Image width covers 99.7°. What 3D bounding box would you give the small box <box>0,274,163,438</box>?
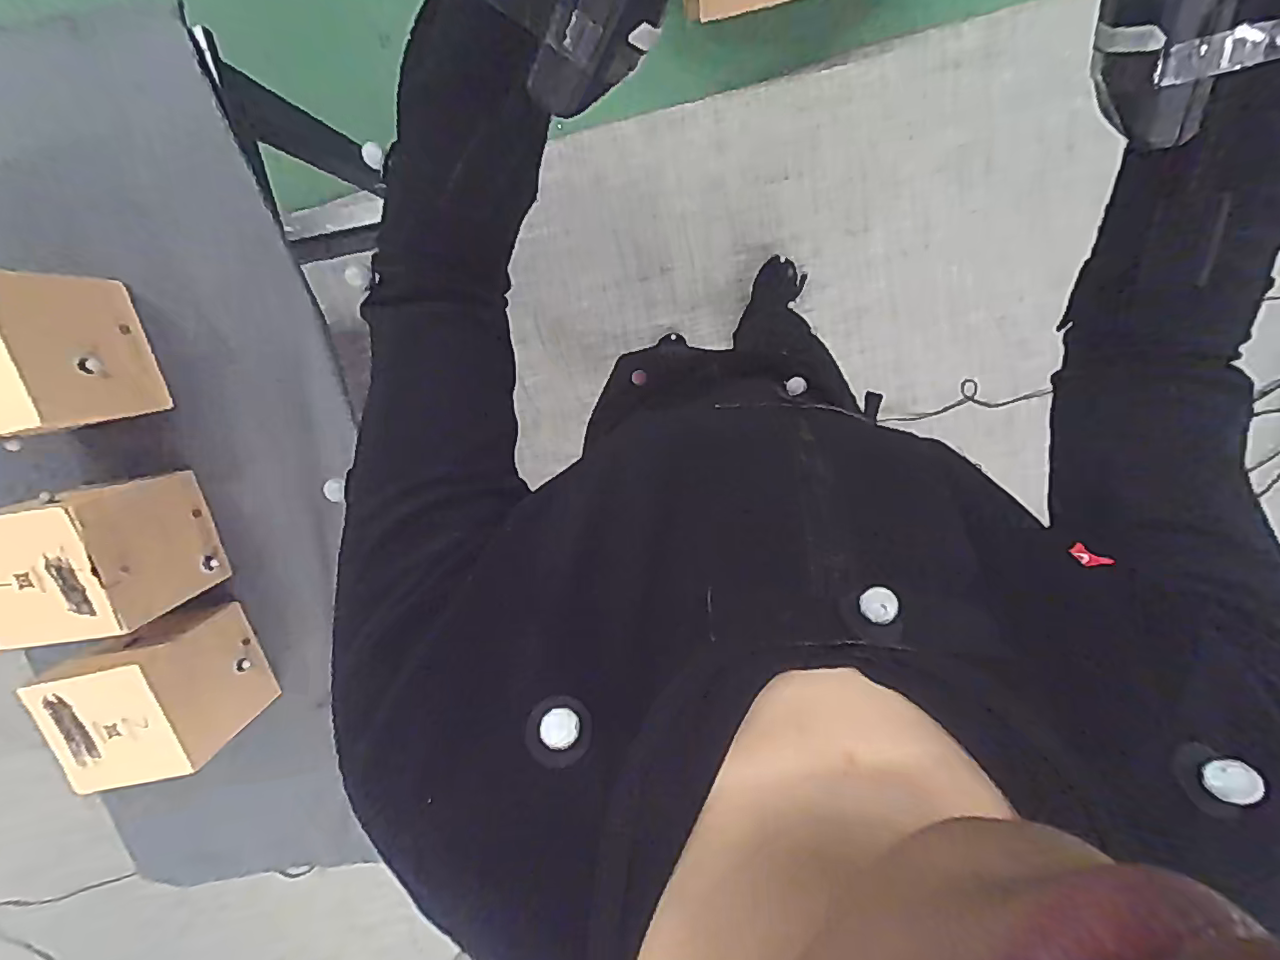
[{"bbox_3d":[-0.731,-0.145,0.647,0.179,0.176,0.168,-10,104,6],"label":"small box"}]
